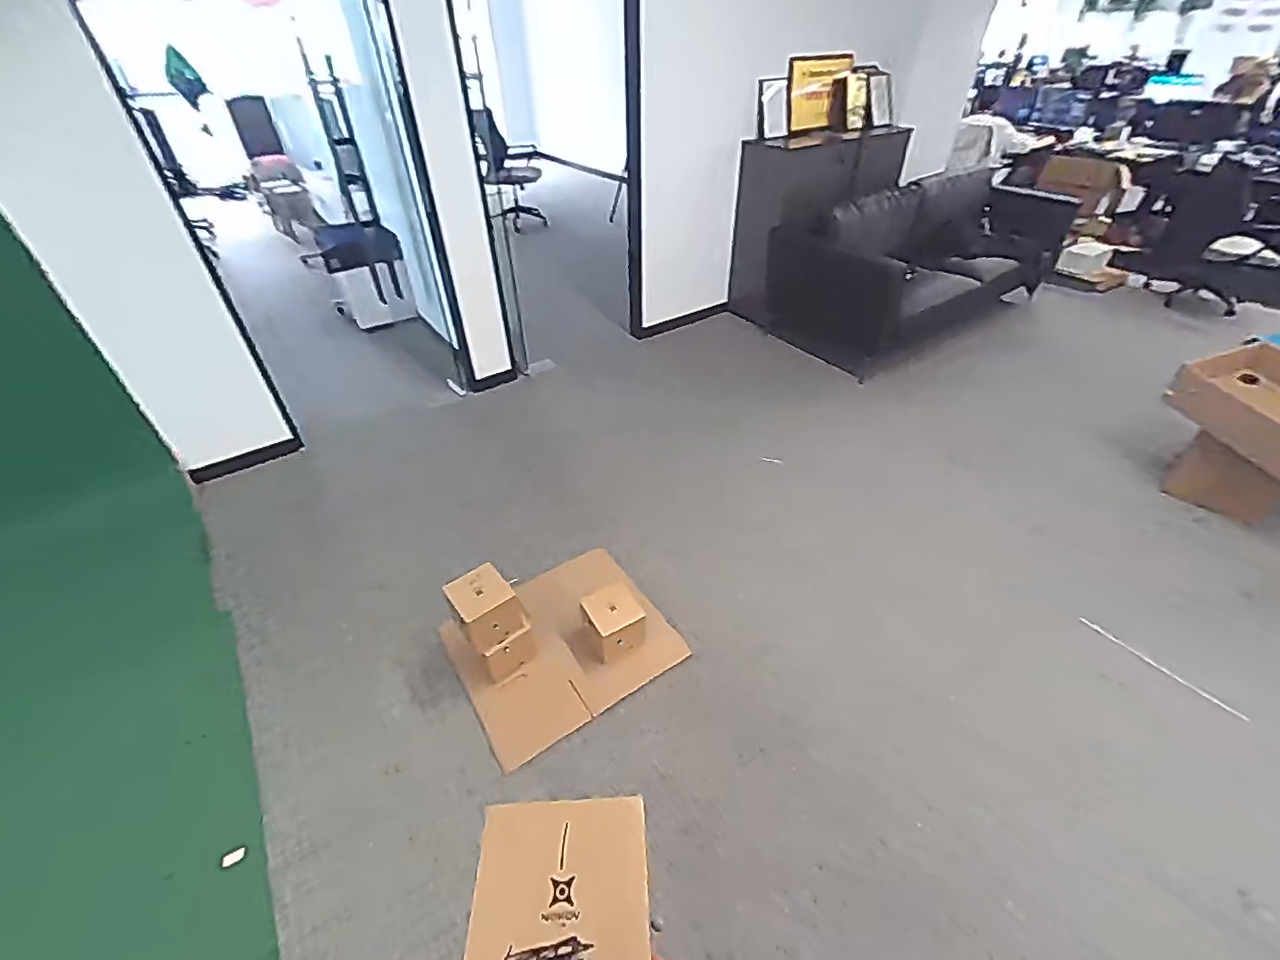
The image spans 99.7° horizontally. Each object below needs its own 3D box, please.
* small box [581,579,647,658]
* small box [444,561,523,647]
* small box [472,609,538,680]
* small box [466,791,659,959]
[{"bbox_3d":[-0.084,0.477,1.836,0.168,0.176,0.179,-22,43,-23],"label":"small box"},{"bbox_3d":[-0.483,0.394,1.687,0.168,0.176,0.179,-28,46,-30],"label":"small box"},{"bbox_3d":[-0.457,0.521,1.792,0.168,0.176,0.179,-30,47,-30],"label":"small box"},{"bbox_3d":[-0.066,0.446,0.549,0.168,0.176,0.179,-3,39,0],"label":"small box"}]
